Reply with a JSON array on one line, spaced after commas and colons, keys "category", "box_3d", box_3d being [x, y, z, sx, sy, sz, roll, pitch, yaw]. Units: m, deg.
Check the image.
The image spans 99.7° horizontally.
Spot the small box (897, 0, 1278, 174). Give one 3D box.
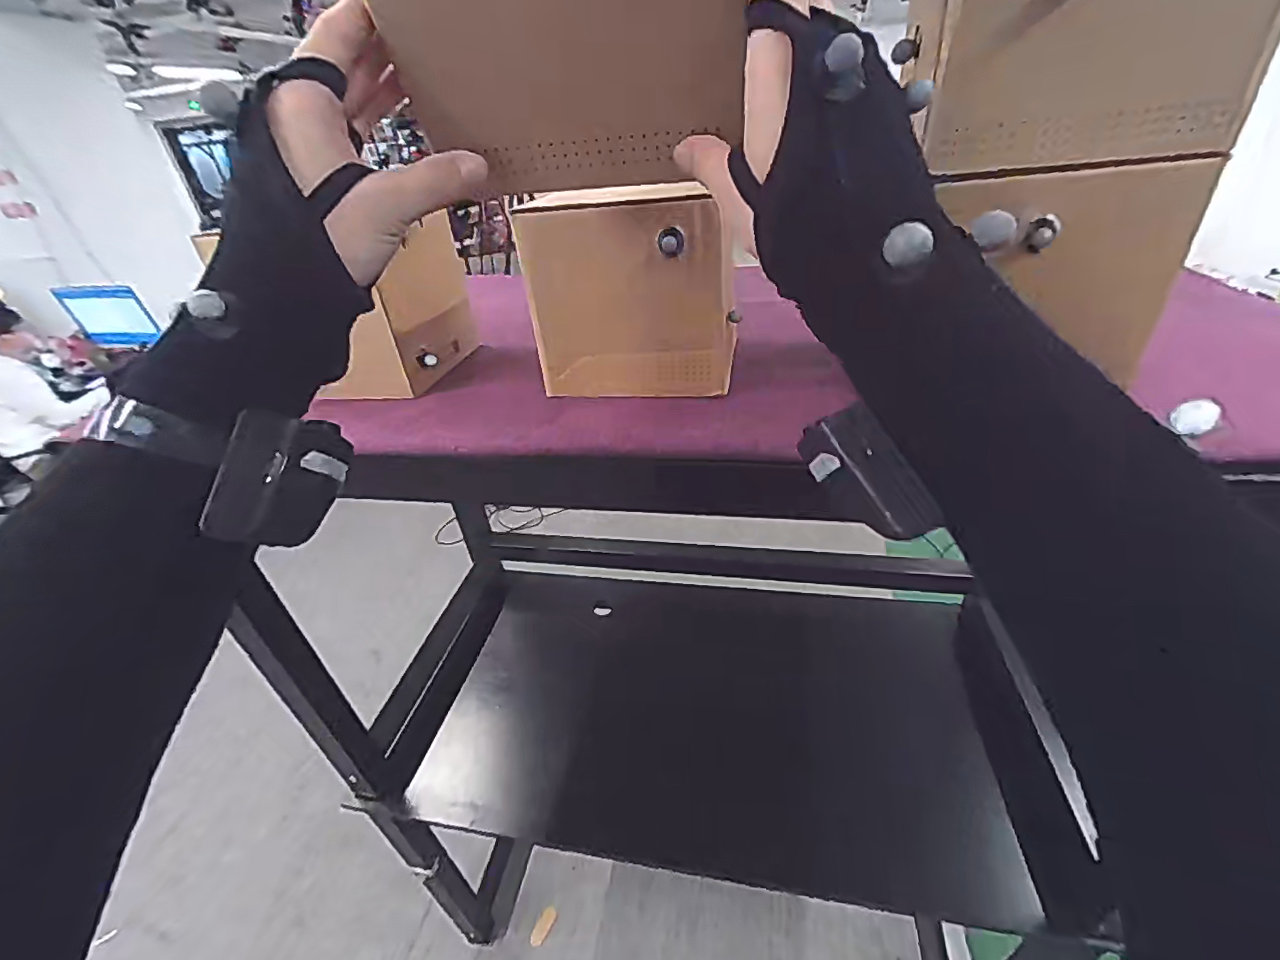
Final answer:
[{"category": "small box", "box_3d": [0.280, -0.310, 0.363, 0.179, 0.176, 0.168, 3, 35, 16]}]

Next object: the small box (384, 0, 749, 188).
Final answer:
[{"category": "small box", "box_3d": [-0.032, -0.280, 0.288, 0.179, 0.176, 0.168, 2, 60, 10]}]

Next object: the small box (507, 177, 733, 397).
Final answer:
[{"category": "small box", "box_3d": [-0.003, -0.188, 0.527, 0.179, 0.176, 0.168, 2, 33, 12]}]

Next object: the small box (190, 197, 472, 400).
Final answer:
[{"category": "small box", "box_3d": [-0.307, -0.195, 0.585, 0.179, 0.176, 0.168, 0, 33, 11]}]
